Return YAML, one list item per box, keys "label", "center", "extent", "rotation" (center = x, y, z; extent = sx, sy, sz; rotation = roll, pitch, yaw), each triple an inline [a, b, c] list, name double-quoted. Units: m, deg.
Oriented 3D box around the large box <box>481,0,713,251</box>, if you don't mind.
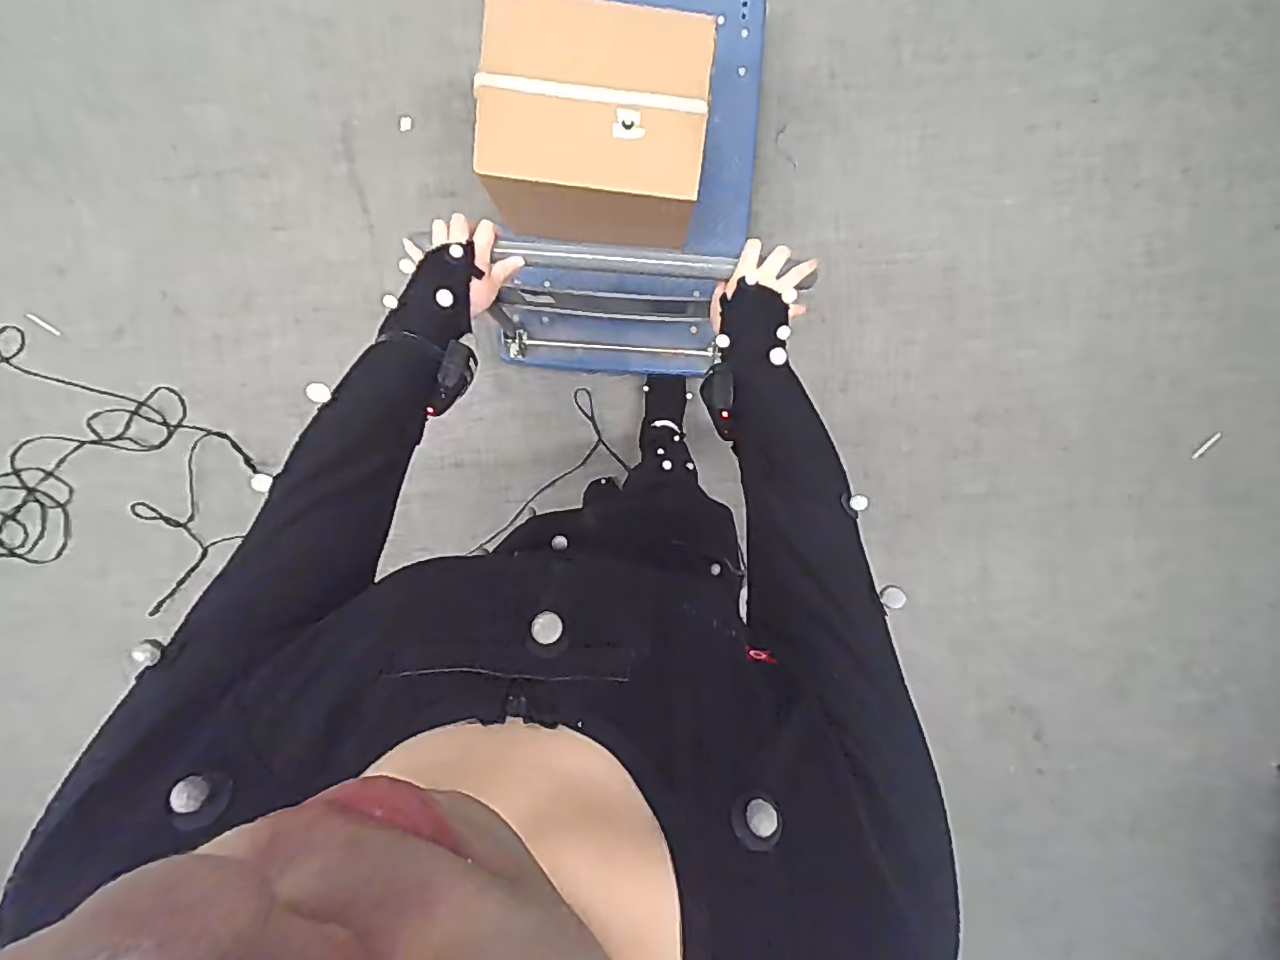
- label: "large box"
  center: [-0.086, -0.697, 1.120]
  extent: [0.408, 0.320, 0.320]
  rotation: [6, 95, -3]
